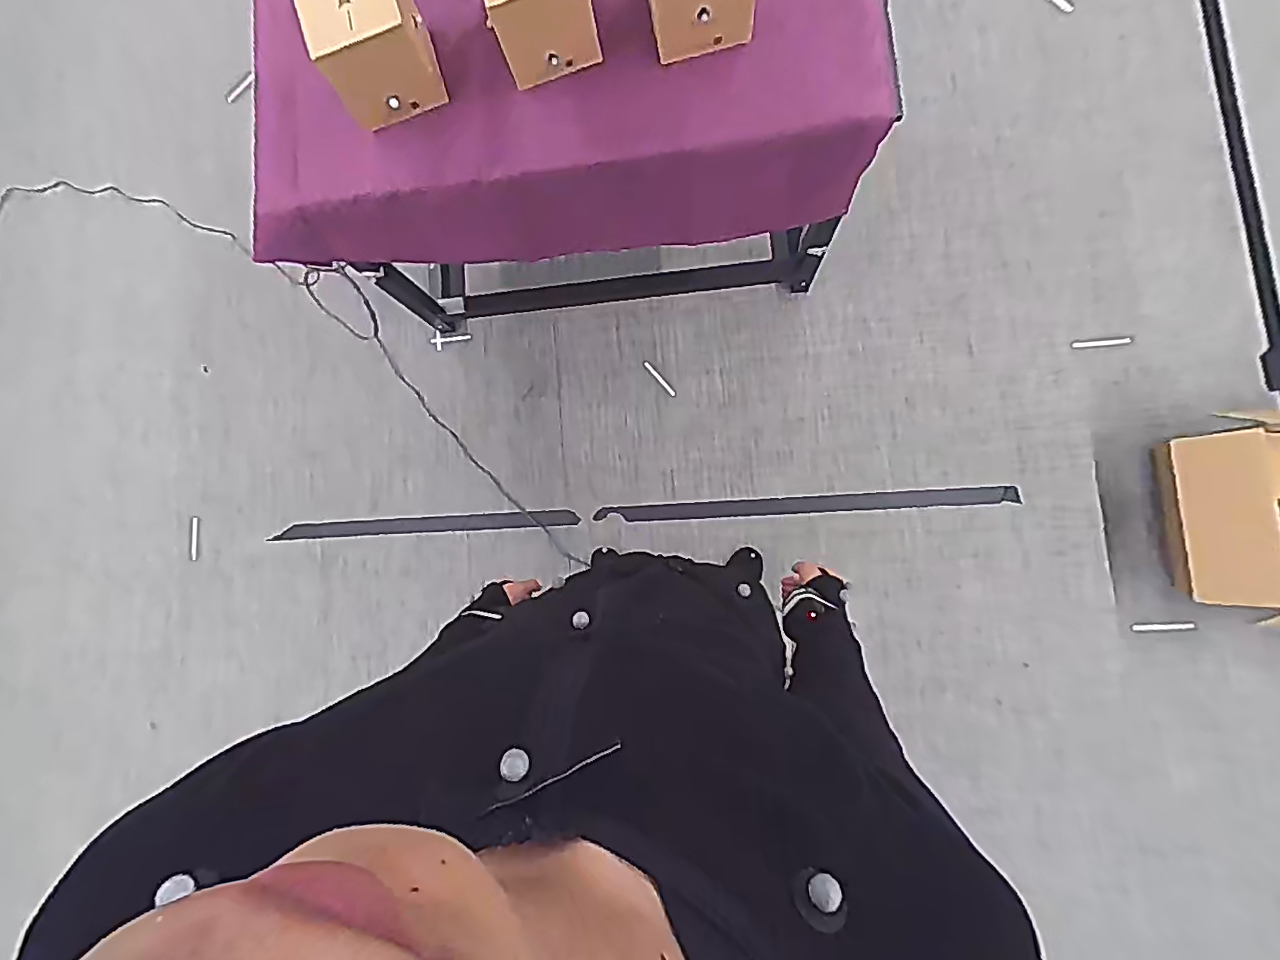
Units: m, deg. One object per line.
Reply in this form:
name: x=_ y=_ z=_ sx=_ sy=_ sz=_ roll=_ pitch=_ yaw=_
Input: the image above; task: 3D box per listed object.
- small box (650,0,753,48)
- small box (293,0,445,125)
small box: x=0.094 y=-0.860 z=0.888 sx=0.168 sy=0.176 sz=0.179 roll=-11 pitch=84 yaw=5
small box: x=-0.470 y=-0.778 z=0.946 sx=0.168 sy=0.176 sz=0.179 roll=-18 pitch=84 yaw=5
